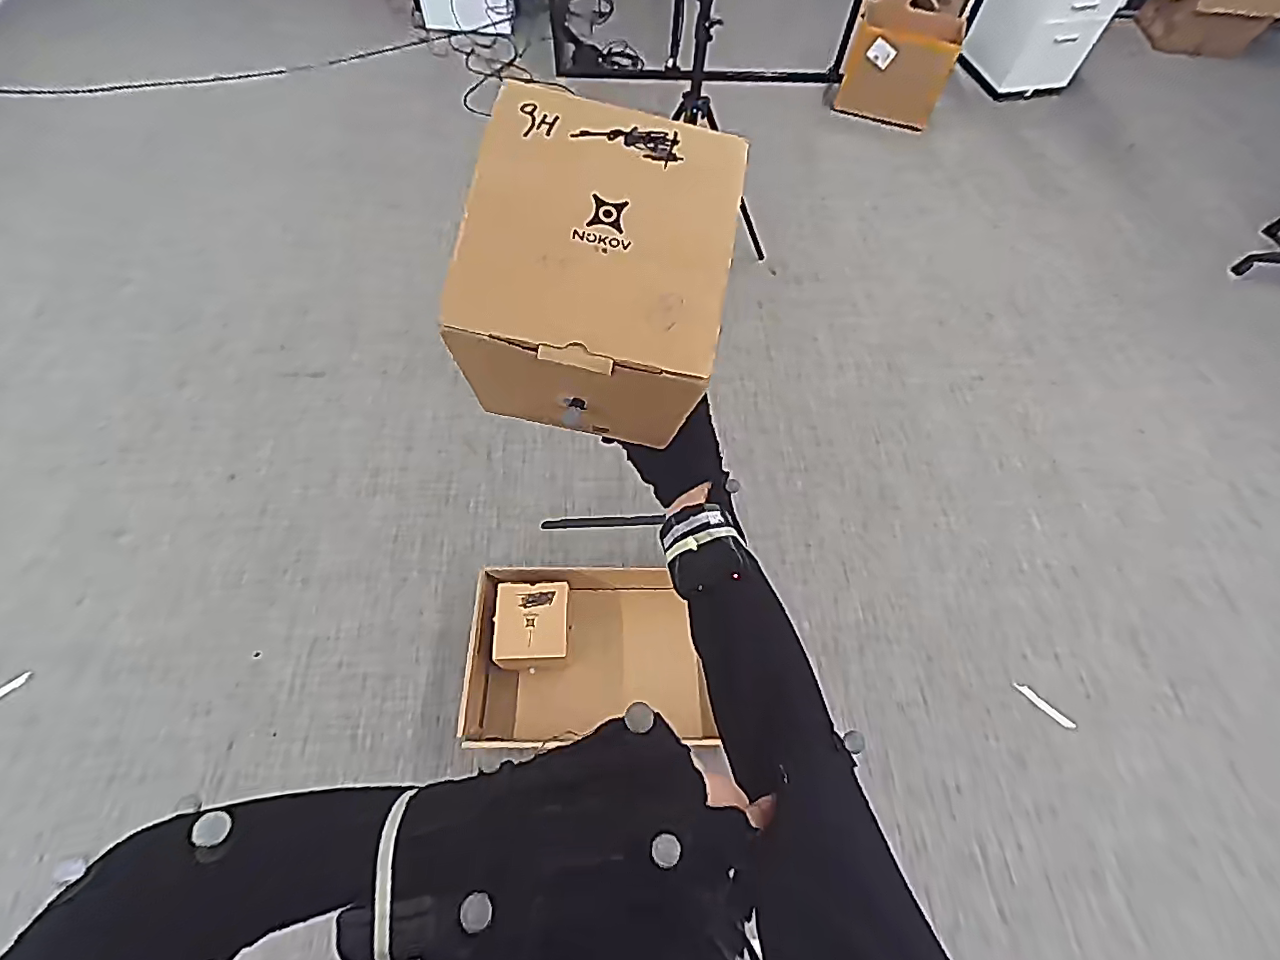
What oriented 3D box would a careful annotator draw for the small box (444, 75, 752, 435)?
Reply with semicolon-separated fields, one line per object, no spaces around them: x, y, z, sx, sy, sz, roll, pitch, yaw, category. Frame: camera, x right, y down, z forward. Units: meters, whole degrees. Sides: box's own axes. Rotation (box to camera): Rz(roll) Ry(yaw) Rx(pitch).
-0.028;-0.145;0.411;0.168;0.176;0.179;11;79;-4;small box
